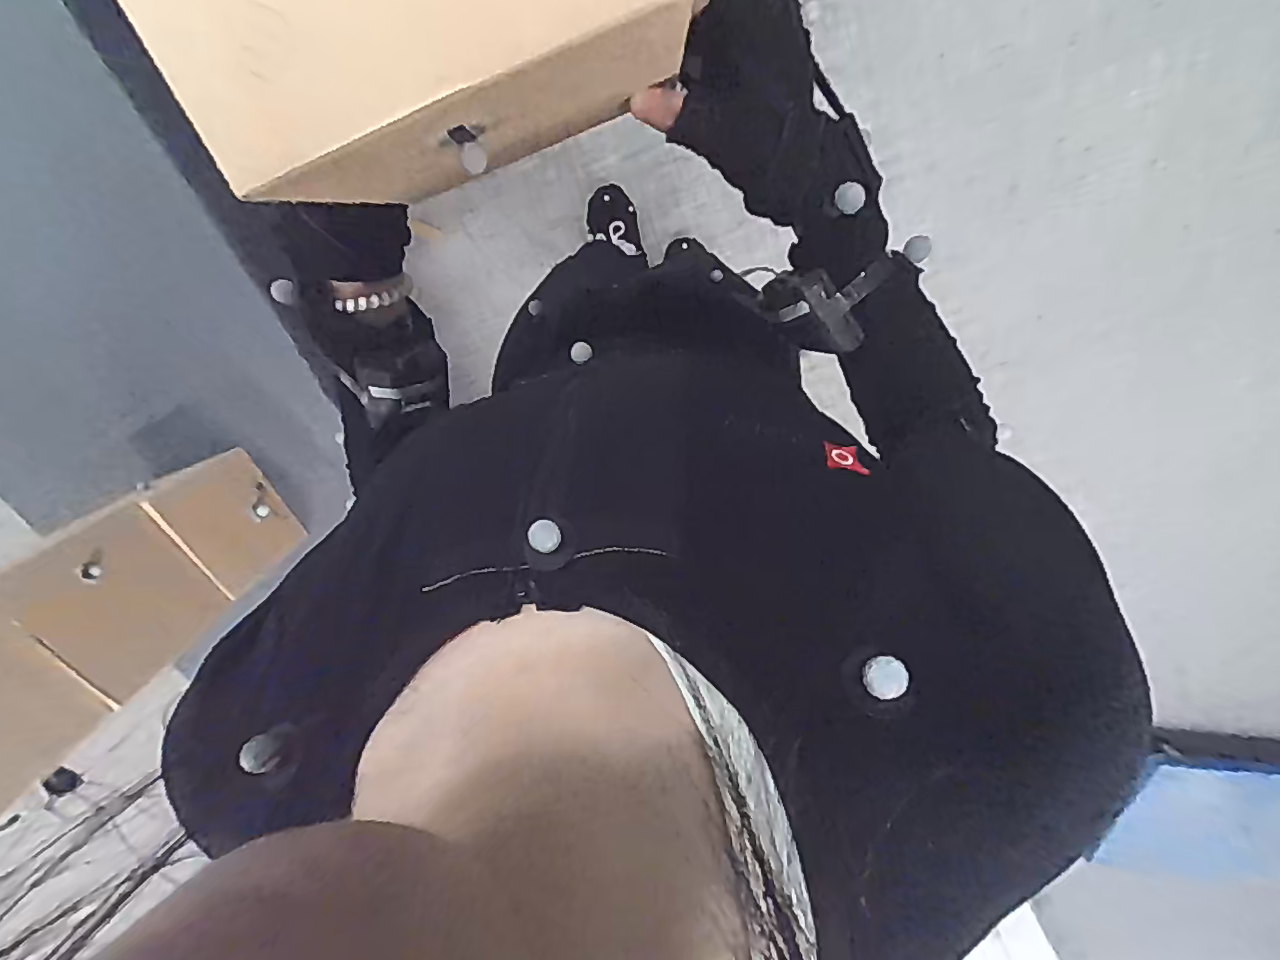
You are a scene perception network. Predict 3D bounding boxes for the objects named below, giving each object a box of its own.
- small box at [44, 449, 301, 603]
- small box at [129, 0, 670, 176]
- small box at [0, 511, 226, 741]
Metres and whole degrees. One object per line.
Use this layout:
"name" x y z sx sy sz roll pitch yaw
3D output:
"small box" -0.636 0.079 0.762 0.179 0.176 0.168 -18 114 11
"small box" -0.089 -0.239 0.215 0.179 0.176 0.168 -17 115 9
"small box" -0.646 0.155 0.618 0.168 0.176 0.179 -20 113 13
